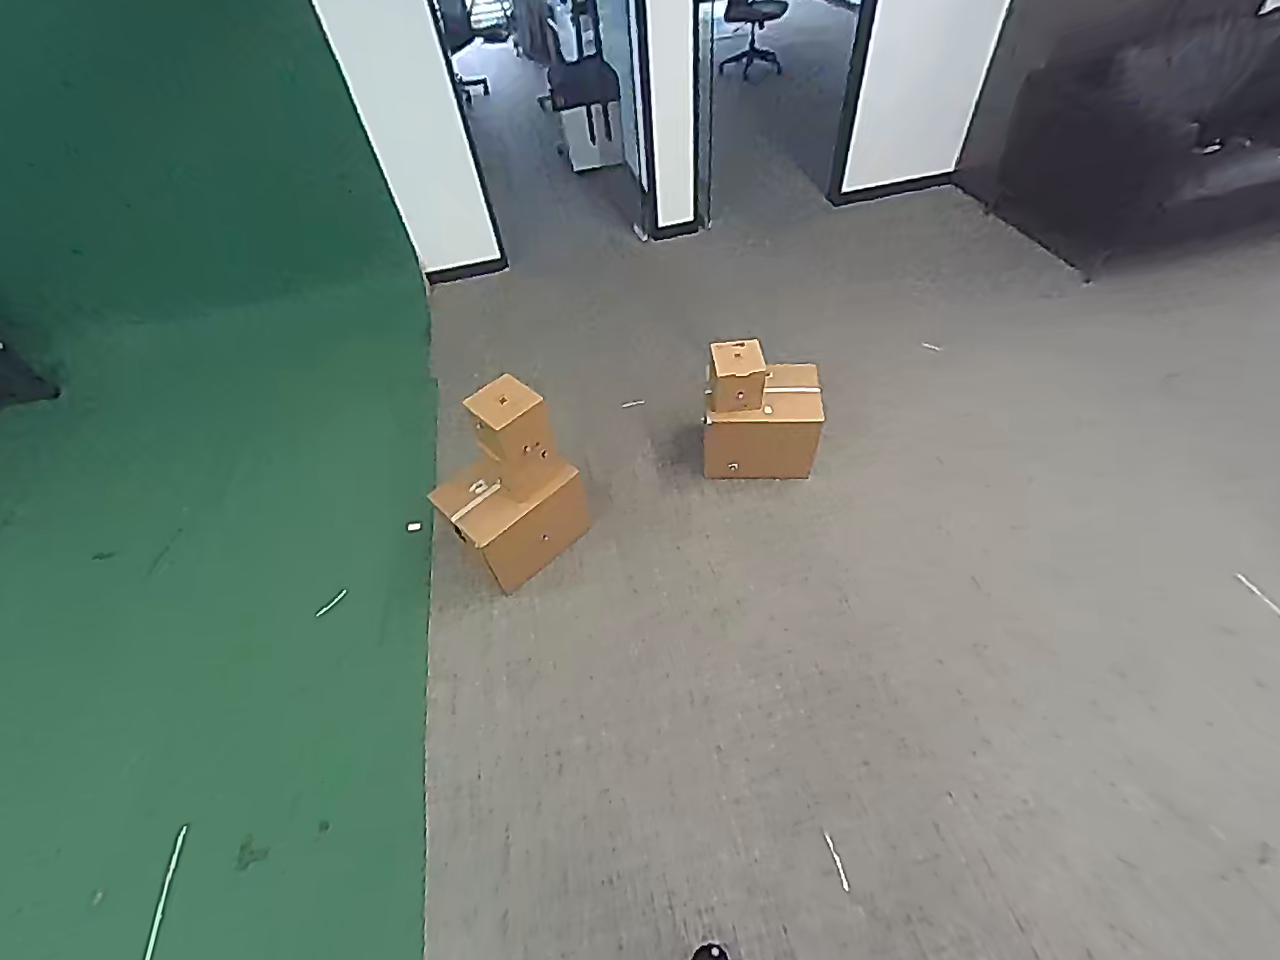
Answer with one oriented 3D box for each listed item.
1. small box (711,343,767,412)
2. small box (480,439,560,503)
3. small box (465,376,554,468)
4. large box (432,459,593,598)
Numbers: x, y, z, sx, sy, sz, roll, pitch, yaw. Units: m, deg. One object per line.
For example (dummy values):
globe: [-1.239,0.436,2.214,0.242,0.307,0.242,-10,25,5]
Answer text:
small box: [0.338,-0.348,1.878,0.168,0.176,0.179,-4,51,1]
small box: [-0.371,-0.064,1.708,0.168,0.176,0.179,34,61,29]
small box: [-0.376,-0.166,1.581,0.168,0.176,0.179,-40,58,-24]
large box: [-0.424,0.122,1.880,0.320,0.320,0.408,33,61,31]
